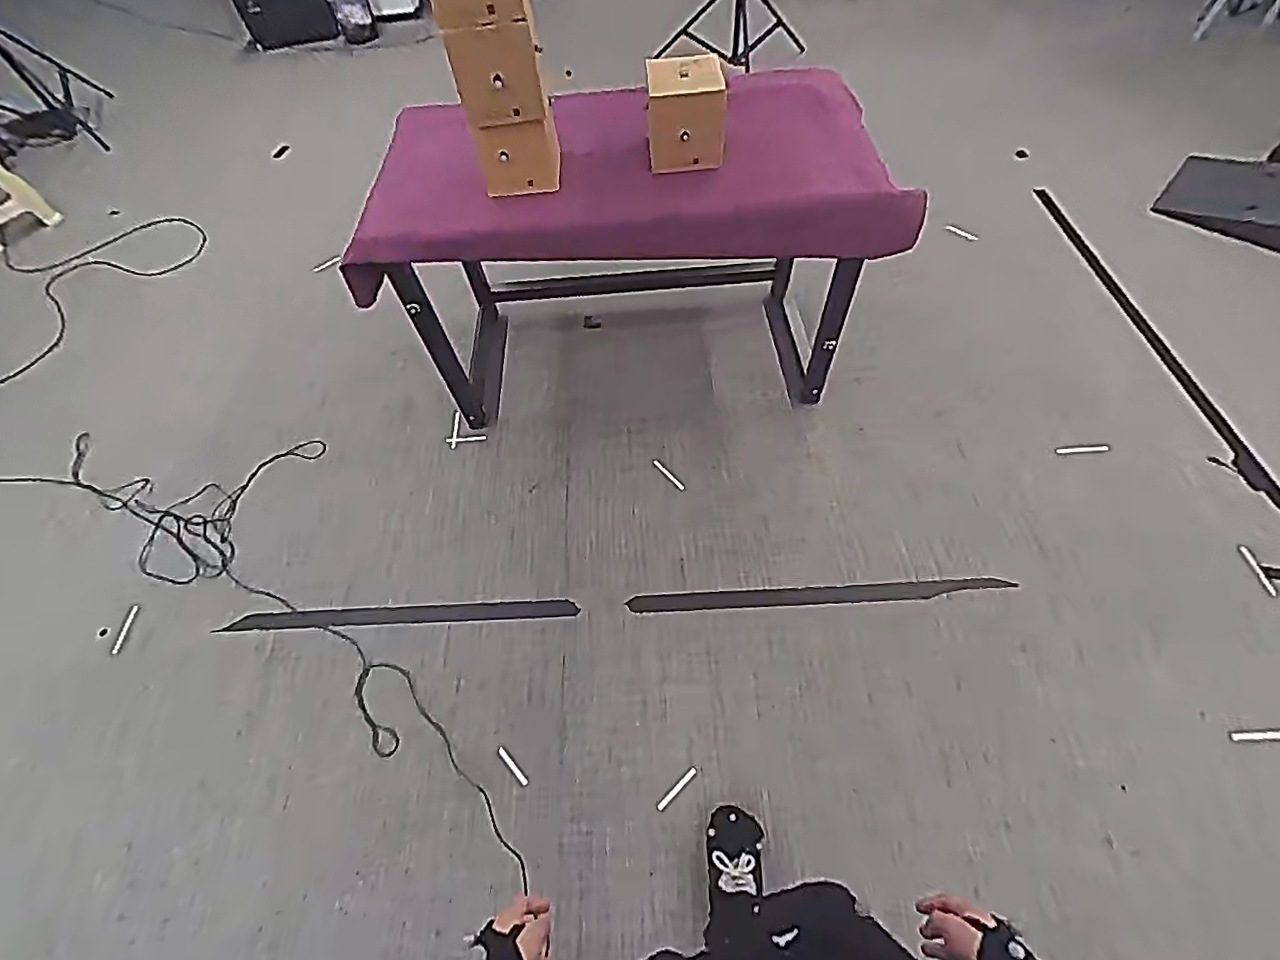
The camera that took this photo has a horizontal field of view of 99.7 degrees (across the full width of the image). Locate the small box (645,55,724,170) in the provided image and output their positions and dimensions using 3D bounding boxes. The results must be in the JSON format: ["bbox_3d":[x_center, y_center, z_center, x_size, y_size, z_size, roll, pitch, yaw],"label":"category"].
[{"bbox_3d":[0.101,-0.846,1.257,0.168,0.176,0.179,-4,58,1],"label":"small box"}]

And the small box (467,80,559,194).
[{"bbox_3d":[-0.284,-0.784,1.251,0.168,0.176,0.179,-5,58,1],"label":"small box"}]

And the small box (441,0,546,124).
[{"bbox_3d":[-0.290,-0.851,1.100,0.168,0.176,0.179,-8,59,-1],"label":"small box"}]
